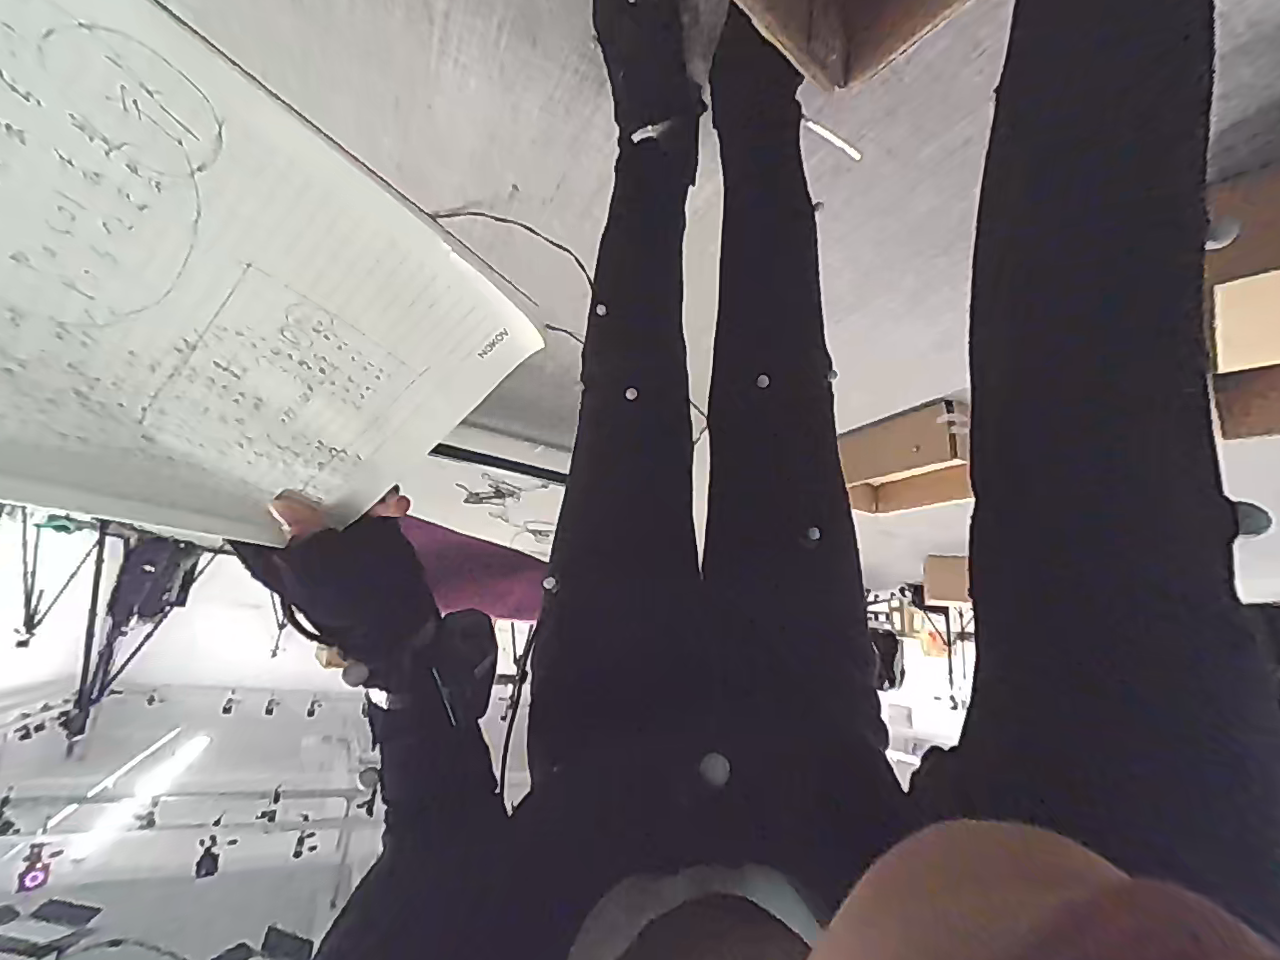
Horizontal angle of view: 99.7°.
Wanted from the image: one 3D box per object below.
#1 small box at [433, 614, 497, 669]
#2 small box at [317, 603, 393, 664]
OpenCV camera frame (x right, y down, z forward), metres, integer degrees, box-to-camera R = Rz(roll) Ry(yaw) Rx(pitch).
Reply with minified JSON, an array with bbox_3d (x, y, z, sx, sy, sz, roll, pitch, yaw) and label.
[{"bbox_3d":[-0.595,0.547,1.844,0.168,0.176,0.179,14,163,-26],"label":"small box"},{"bbox_3d":[-0.877,0.471,1.669,0.168,0.176,0.179,17,160,-33],"label":"small box"}]
